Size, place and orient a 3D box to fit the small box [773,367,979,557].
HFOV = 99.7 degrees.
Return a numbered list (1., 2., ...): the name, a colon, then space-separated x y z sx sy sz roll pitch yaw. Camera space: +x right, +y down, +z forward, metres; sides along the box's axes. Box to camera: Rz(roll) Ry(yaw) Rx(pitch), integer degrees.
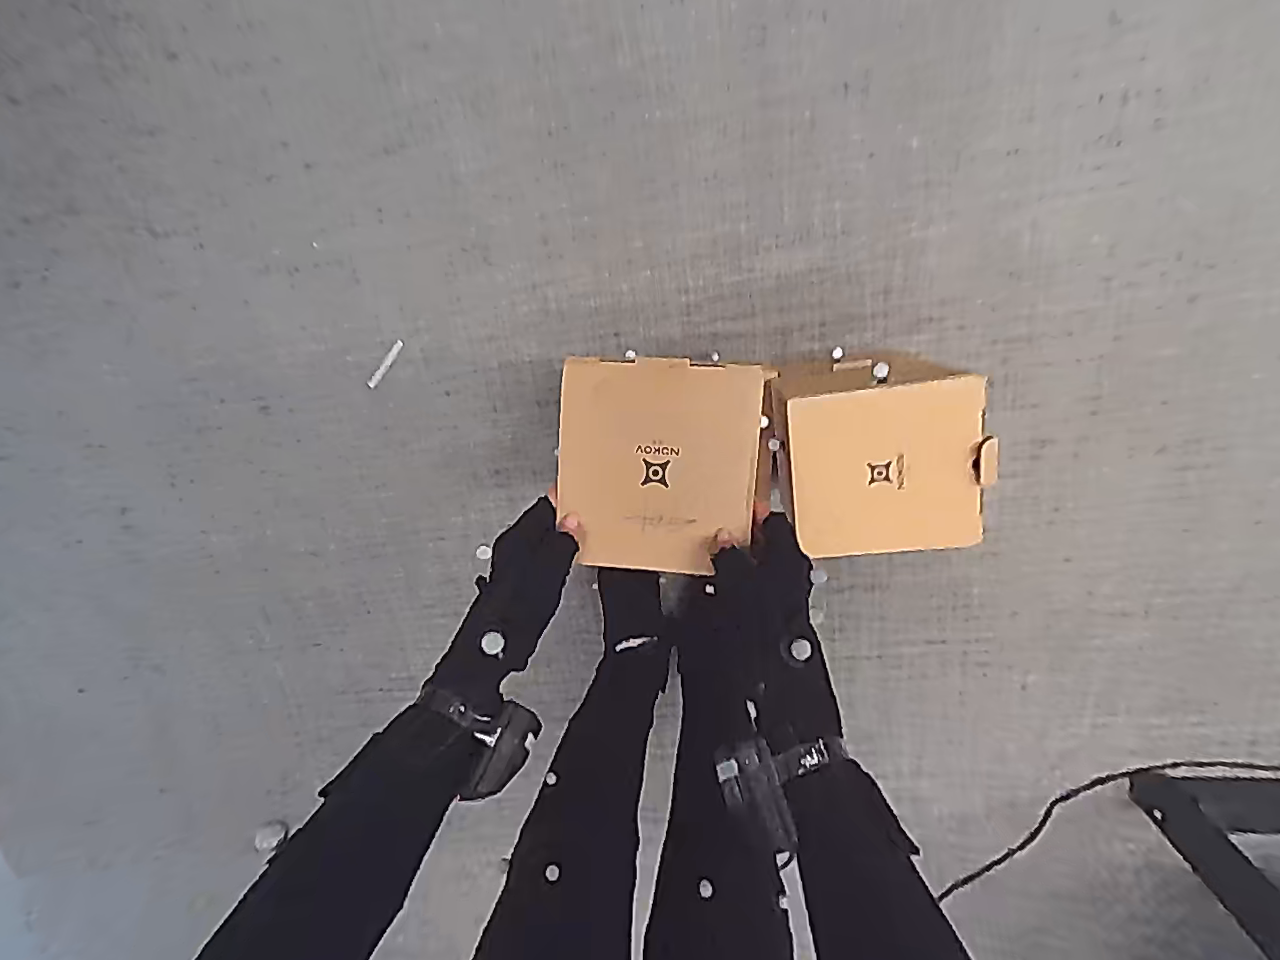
1. small box: 0.244 -0.028 0.599 0.179 0.176 0.168 -6 105 10
